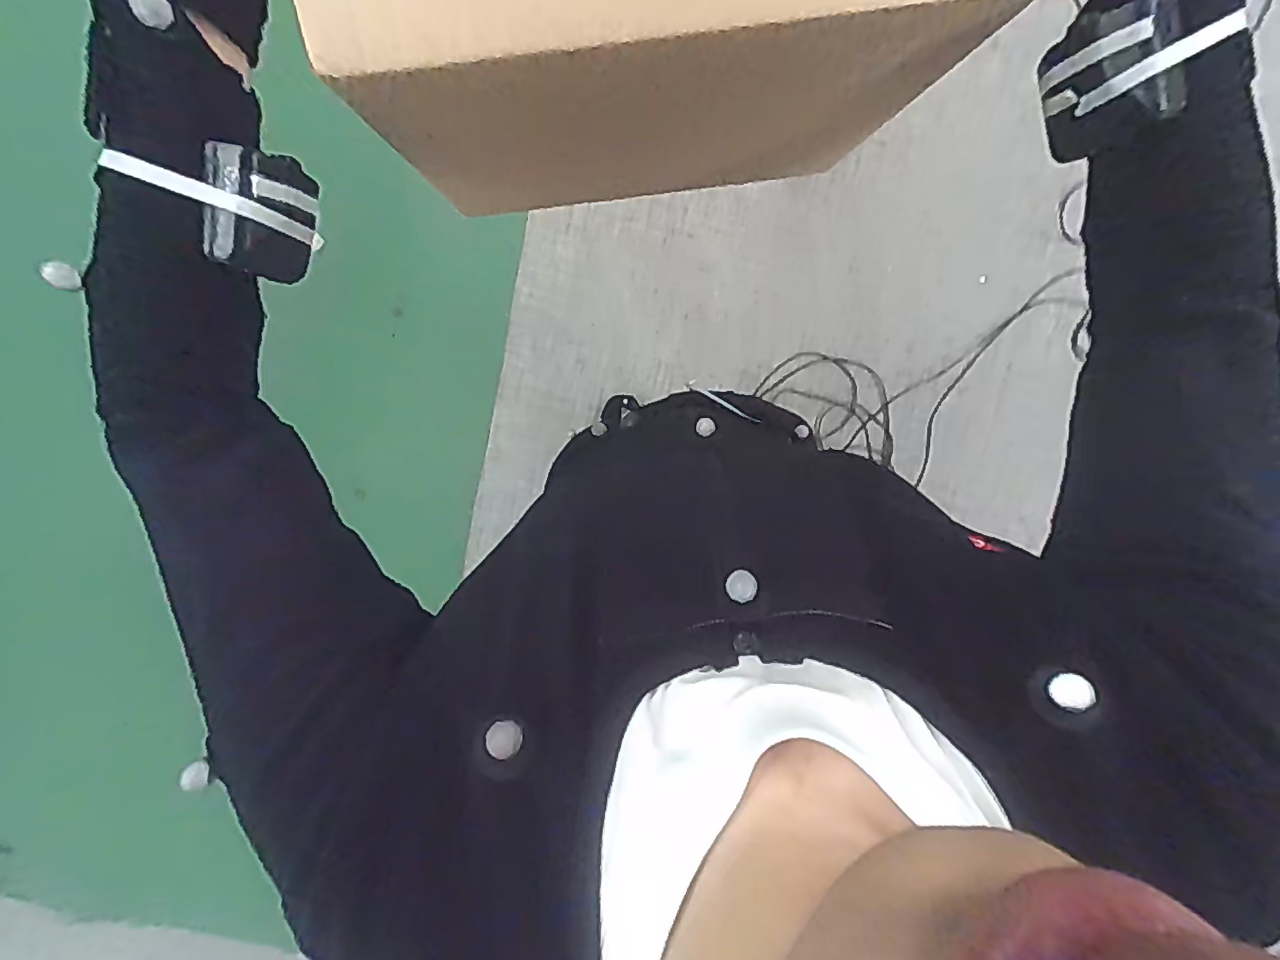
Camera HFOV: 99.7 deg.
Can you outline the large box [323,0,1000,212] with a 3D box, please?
[{"bbox_3d":[-0.003,-0.431,0.412,0.408,0.320,0.320,-8,103,-3],"label":"large box"}]
